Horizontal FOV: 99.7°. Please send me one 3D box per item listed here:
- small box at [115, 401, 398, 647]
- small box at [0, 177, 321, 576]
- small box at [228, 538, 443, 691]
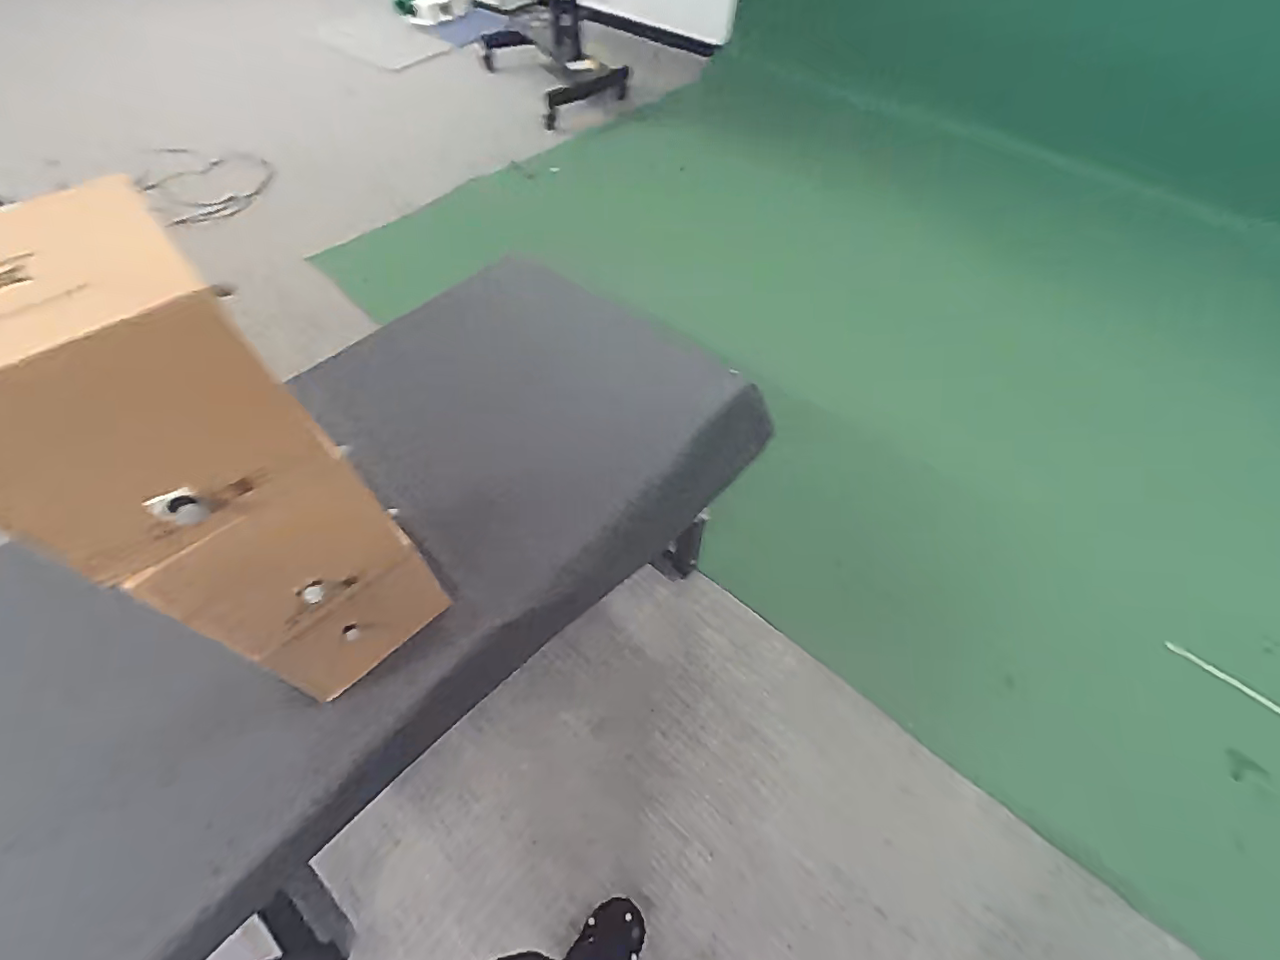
[{"bbox_3d":[-0.367,0.025,0.506,0.179,0.176,0.168,35,62,24],"label":"small box"},{"bbox_3d":[-0.368,-0.066,0.372,0.168,0.176,0.179,-38,64,-22],"label":"small box"},{"bbox_3d":[-0.370,0.118,0.641,0.168,0.176,0.179,38,64,23],"label":"small box"}]
